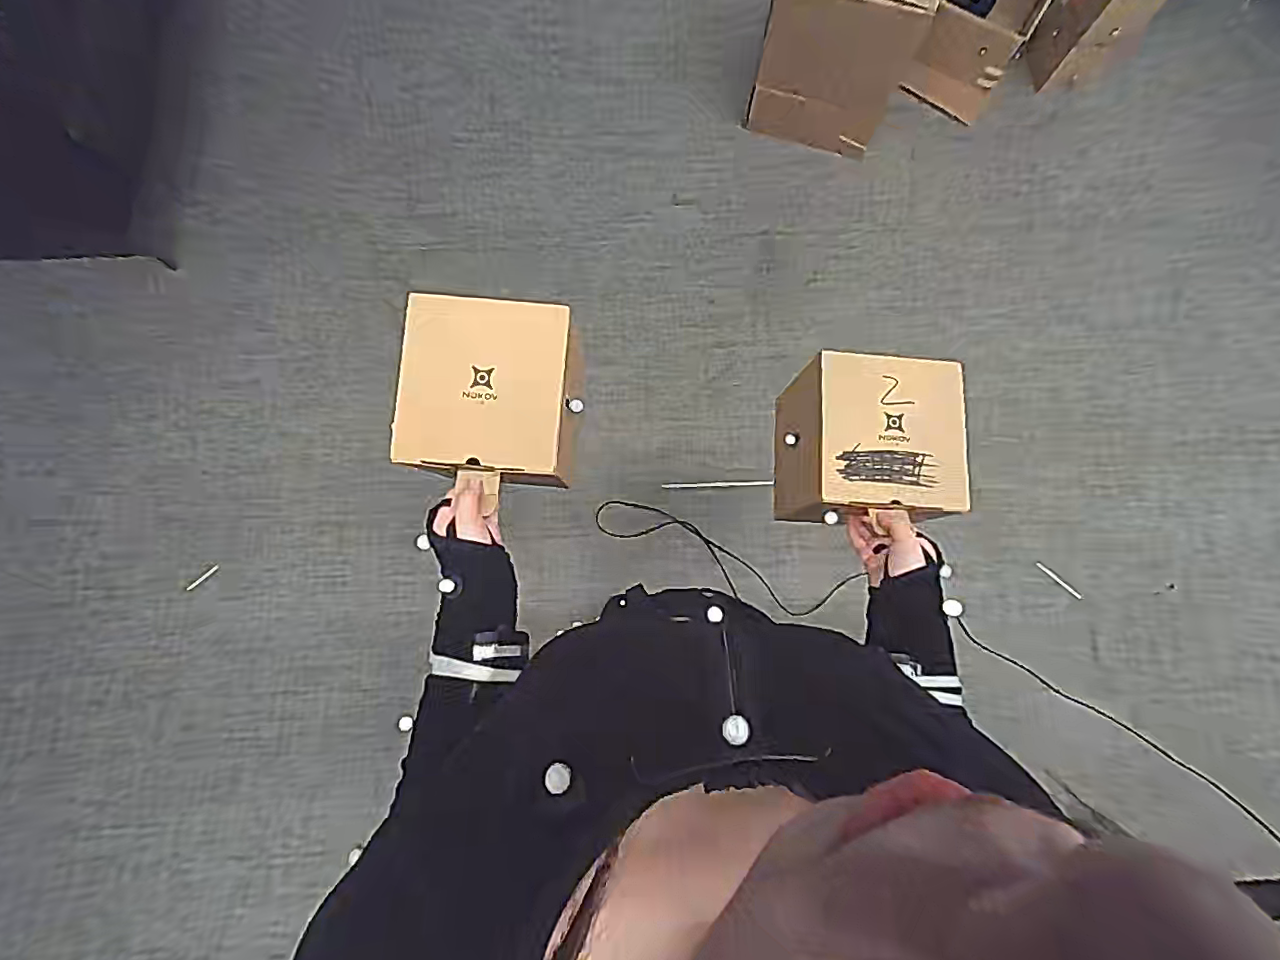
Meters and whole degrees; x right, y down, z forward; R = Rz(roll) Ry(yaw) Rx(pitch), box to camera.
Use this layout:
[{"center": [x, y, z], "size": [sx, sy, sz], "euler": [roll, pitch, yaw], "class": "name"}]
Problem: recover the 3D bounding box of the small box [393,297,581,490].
[{"center": [-0.159, -0.087, 0.622], "size": [0.168, 0.176, 0.179], "euler": [5, 86, -2], "class": "small box"}]
